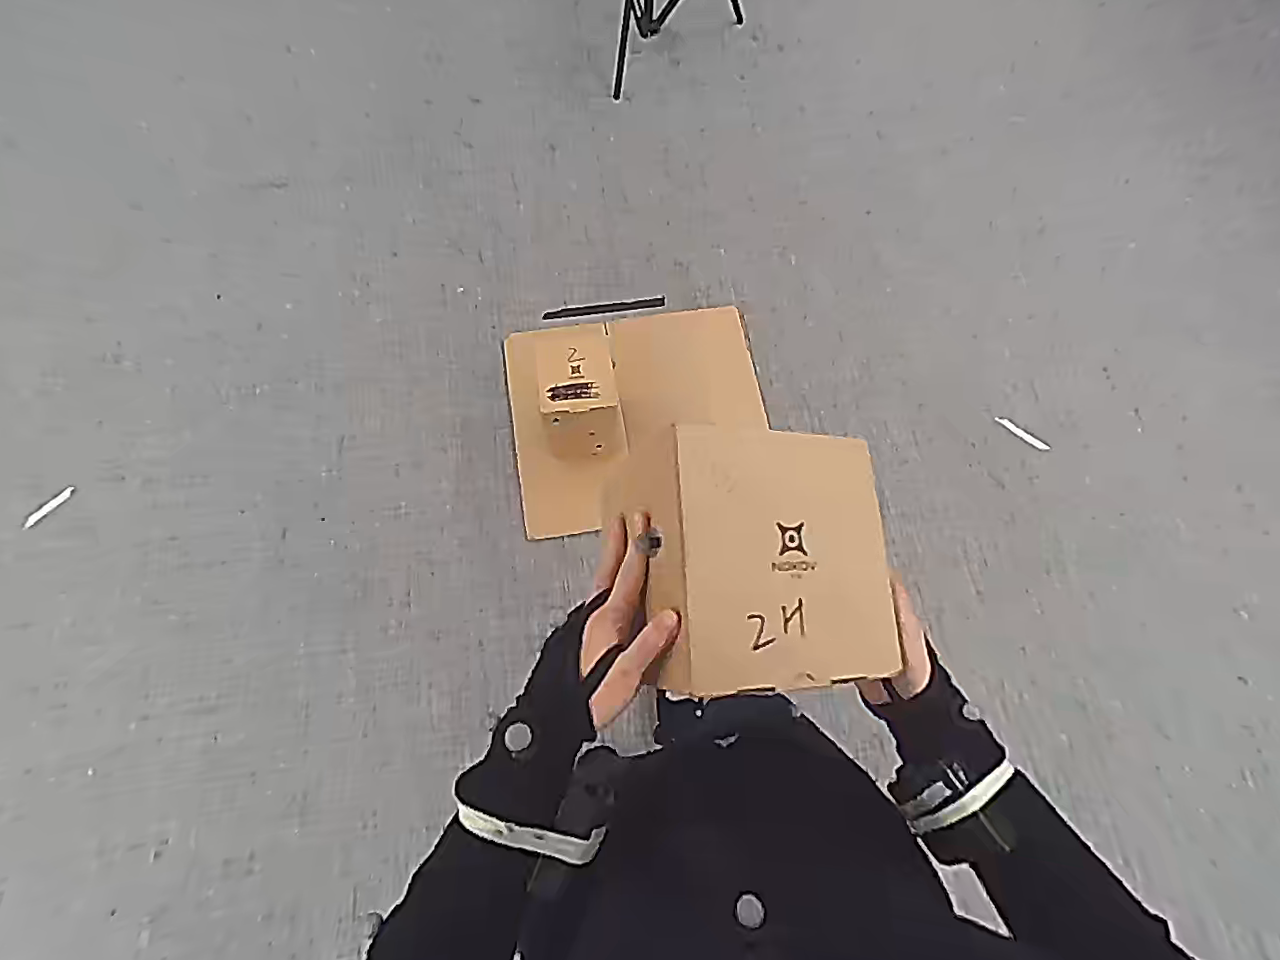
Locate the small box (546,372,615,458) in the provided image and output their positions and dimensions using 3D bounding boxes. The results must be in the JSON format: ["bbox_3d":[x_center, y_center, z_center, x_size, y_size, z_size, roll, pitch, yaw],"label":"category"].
[{"bbox_3d":[-0.151,-0.162,1.405,0.168,0.176,0.179,-4,73,-5],"label":"small box"}]

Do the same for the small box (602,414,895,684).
[{"bbox_3d":[0.070,0.064,0.442,0.168,0.176,0.179,3,75,-20],"label":"small box"}]
